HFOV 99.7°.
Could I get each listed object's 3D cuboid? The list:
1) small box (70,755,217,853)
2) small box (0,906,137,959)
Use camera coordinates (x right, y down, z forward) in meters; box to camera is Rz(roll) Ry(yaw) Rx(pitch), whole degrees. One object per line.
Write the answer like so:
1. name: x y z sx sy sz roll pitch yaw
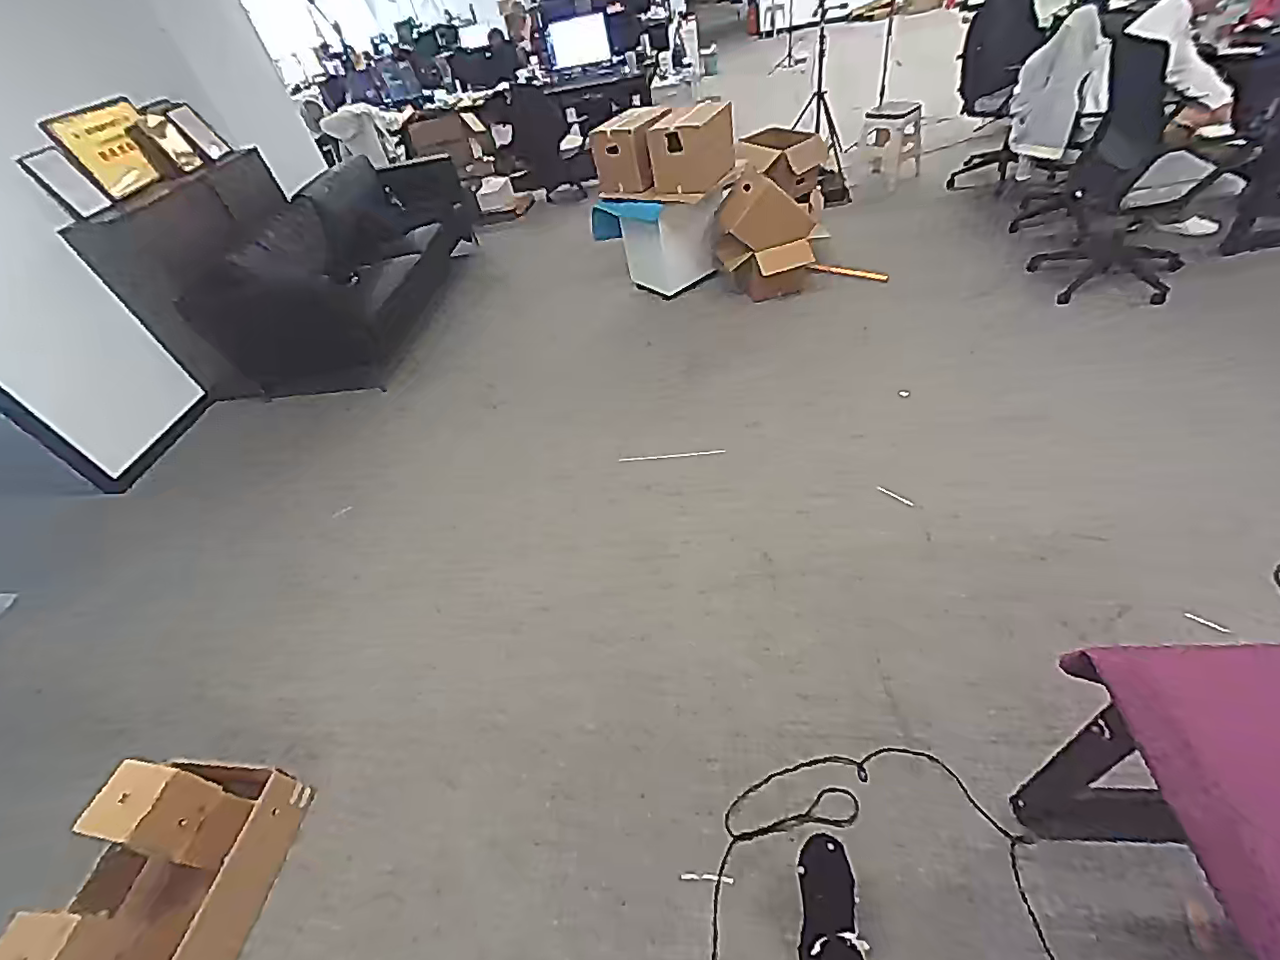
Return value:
1. small box: -1.250 0.826 1.376 0.179 0.176 0.168 2 46 13
2. small box: -1.273 1.041 1.167 0.179 0.176 0.168 -4 45 10
